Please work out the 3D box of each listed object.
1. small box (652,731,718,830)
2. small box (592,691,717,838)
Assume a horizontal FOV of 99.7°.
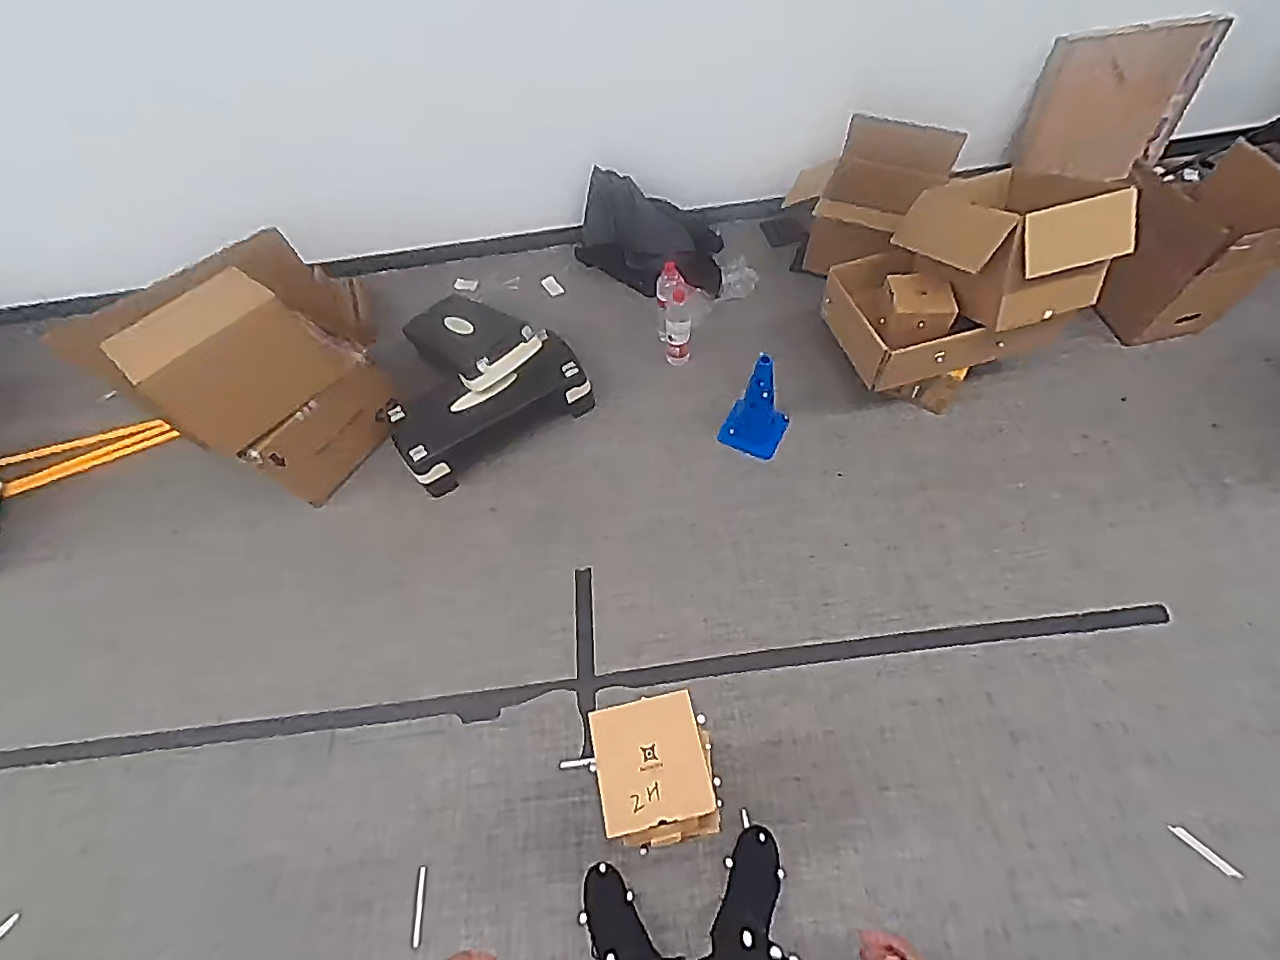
[{"bbox_3d":[0.074,0.645,1.163,0.168,0.176,0.179,-3,61,3],"label":"small box"},{"bbox_3d":[0.023,0.467,0.890,0.168,0.176,0.179,-12,60,-1],"label":"small box"}]
